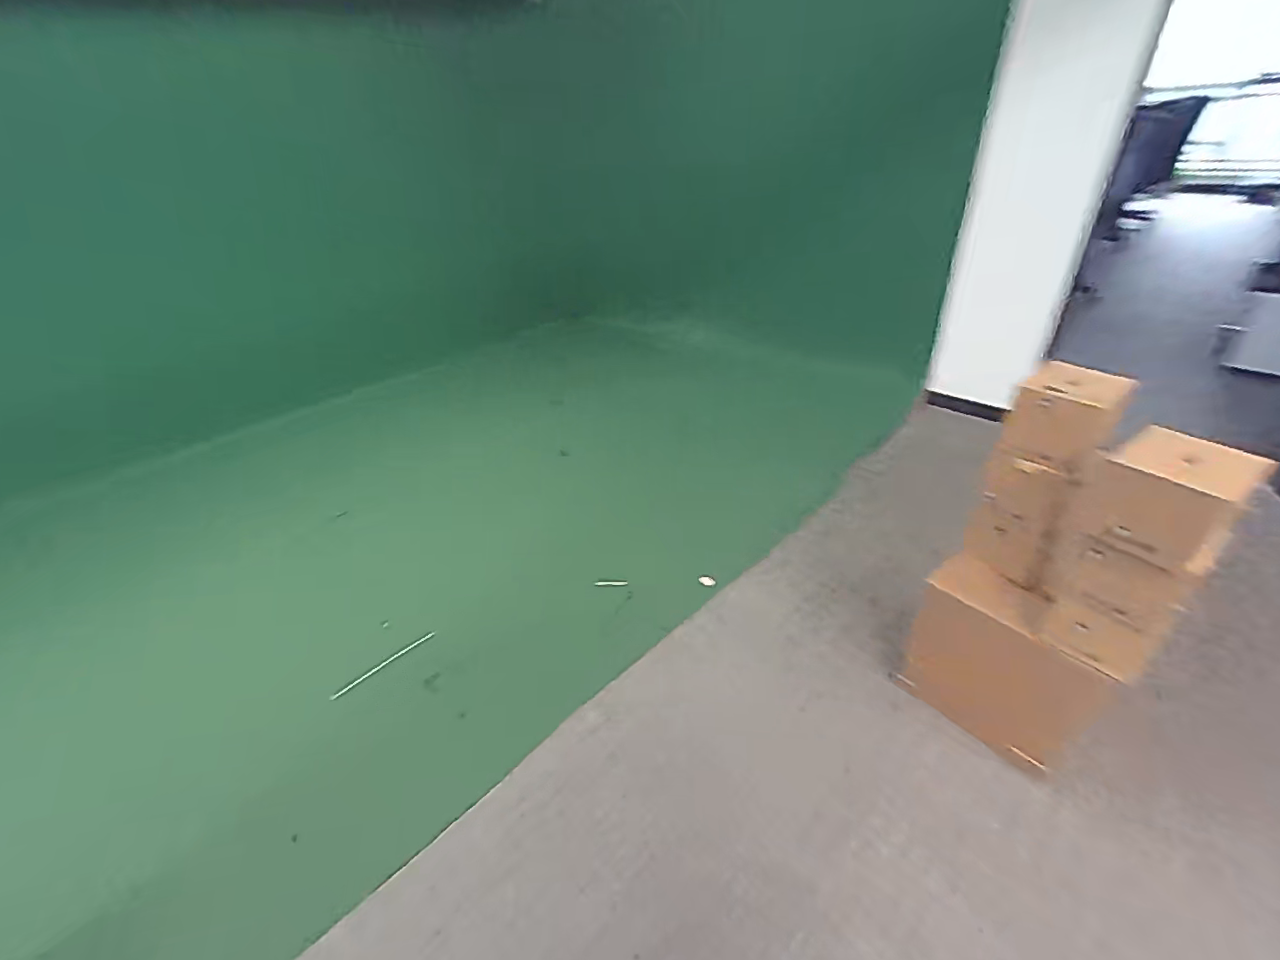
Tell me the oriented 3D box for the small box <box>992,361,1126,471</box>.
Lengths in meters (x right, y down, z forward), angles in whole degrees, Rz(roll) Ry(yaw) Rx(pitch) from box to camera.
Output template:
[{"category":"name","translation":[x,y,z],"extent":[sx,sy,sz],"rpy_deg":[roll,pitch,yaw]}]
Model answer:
[{"category":"small box","translation":[0.931,-0.146,1.216],"extent":[0.179,0.176,0.168],"rpy_deg":[-27,40,-28]}]

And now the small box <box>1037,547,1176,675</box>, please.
[{"category":"small box","translation":[0.998,0.283,1.170],"extent":[0.179,0.176,0.168],"rpy_deg":[-30,42,-30]}]

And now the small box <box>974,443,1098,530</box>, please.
[{"category":"small box","translation":[0.943,-0.007,1.304],"extent":[0.179,0.176,0.168],"rpy_deg":[-22,38,-23]}]

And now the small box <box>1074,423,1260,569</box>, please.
[{"category":"small box","translation":[0.933,0.026,0.974],"extent":[0.179,0.176,0.168],"rpy_deg":[-25,39,-24]}]

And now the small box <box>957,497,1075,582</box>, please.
[{"category":"small box","translation":[0.958,0.130,1.395],"extent":[0.168,0.176,0.179],"rpy_deg":[-25,40,-24]}]
